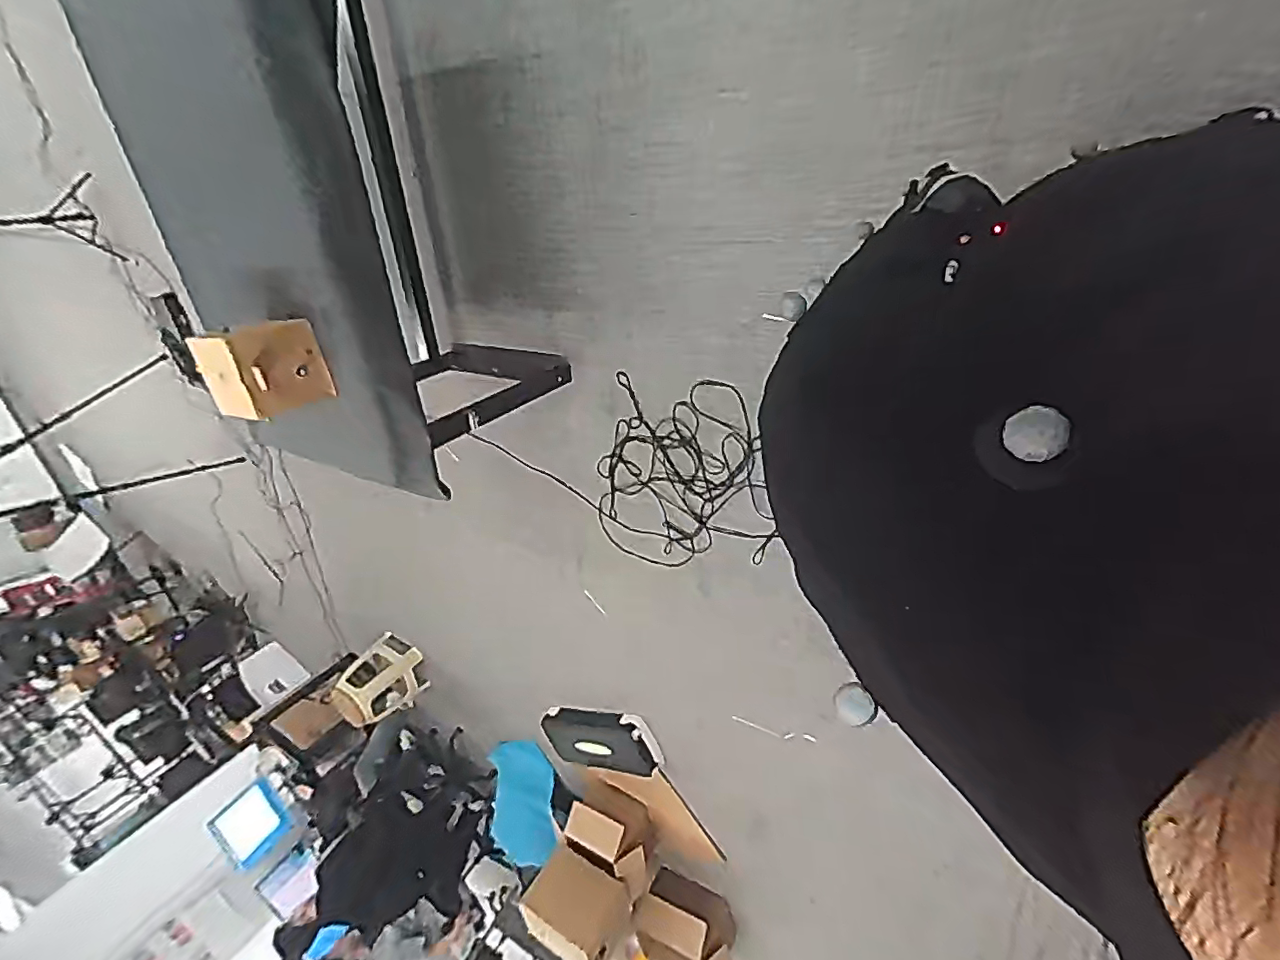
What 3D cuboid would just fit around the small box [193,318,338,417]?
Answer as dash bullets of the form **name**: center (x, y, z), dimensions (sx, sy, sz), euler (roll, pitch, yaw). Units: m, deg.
- **small box**: center (-0.780, -0.242, 1.138), dimensions (0.179, 0.176, 0.168), euler (9, 119, 31)
